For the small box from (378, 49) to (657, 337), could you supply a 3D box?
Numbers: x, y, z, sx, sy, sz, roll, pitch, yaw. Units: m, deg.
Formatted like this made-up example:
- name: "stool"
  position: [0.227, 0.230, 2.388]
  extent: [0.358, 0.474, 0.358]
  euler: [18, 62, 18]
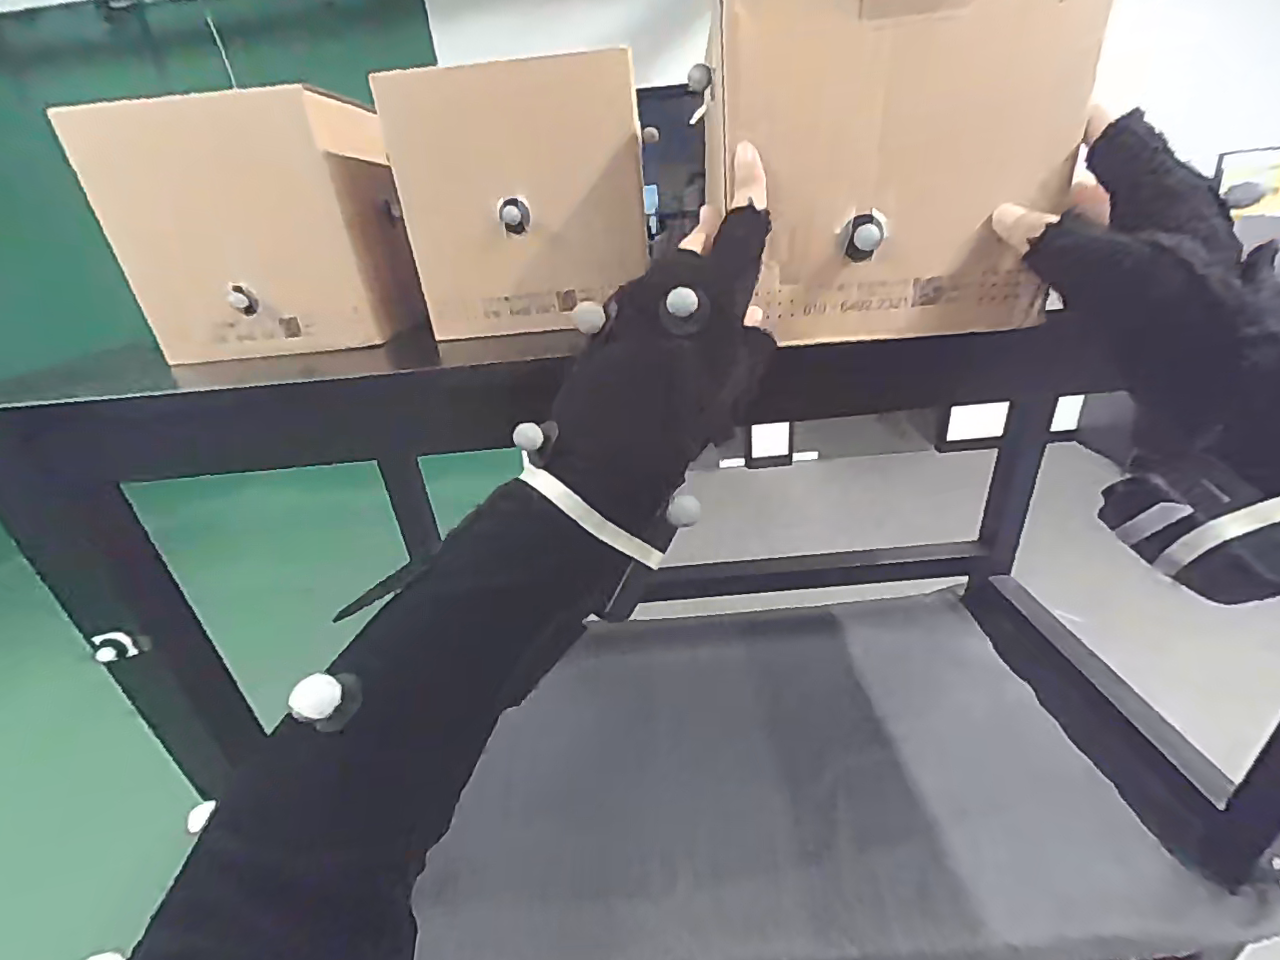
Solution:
- name: "small box"
  position: [-0.074, -0.215, 0.439]
  extent: [0.168, 0.176, 0.179]
  euler: [-4, 26, 2]

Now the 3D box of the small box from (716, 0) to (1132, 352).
- name: "small box"
  position: [0.133, -0.181, 0.334]
  extent: [0.168, 0.176, 0.179]
  euler: [-3, 27, 5]
